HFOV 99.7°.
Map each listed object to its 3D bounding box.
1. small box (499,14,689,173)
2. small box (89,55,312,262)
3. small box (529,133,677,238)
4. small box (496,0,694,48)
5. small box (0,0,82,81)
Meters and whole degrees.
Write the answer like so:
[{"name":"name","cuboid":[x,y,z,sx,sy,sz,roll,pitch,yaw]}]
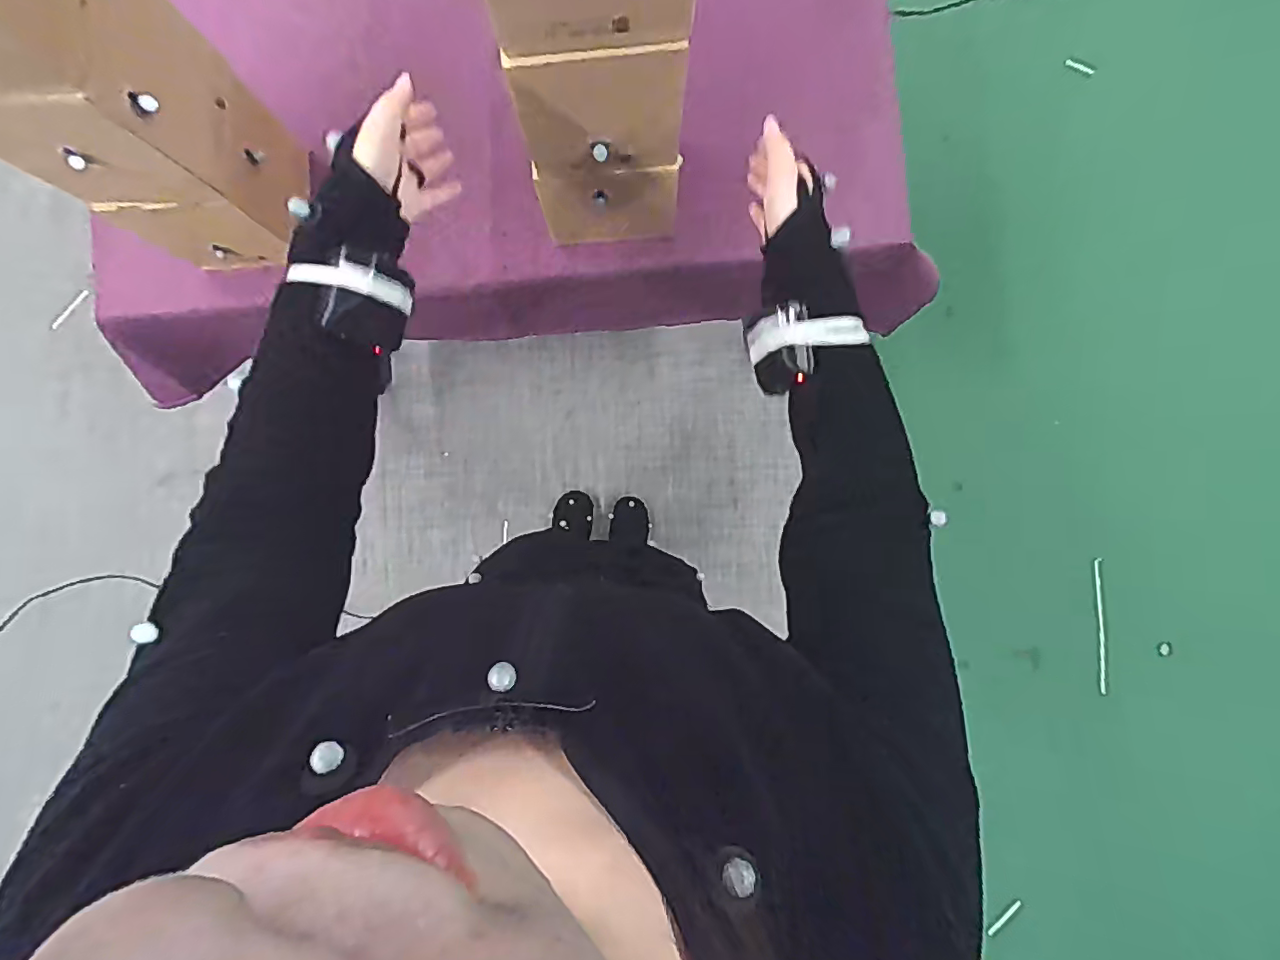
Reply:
[{"name":"small box","cuboid":[-0.045,-0.451,0.550,0.168,0.176,0.179,-6,89,1]},{"name":"small box","cuboid":[-0.565,-0.412,0.717,0.168,0.176,0.179,-3,89,0]},{"name":"small box","cuboid":[-0.044,-0.438,0.714,0.179,0.176,0.168,-3,89,0]},{"name":"small box","cuboid":[-0.043,-0.463,0.386,0.168,0.176,0.179,-5,87,1]},{"name":"small box","cuboid":[-0.562,-0.426,0.389,0.168,0.176,0.179,-2,88,-1]}]
